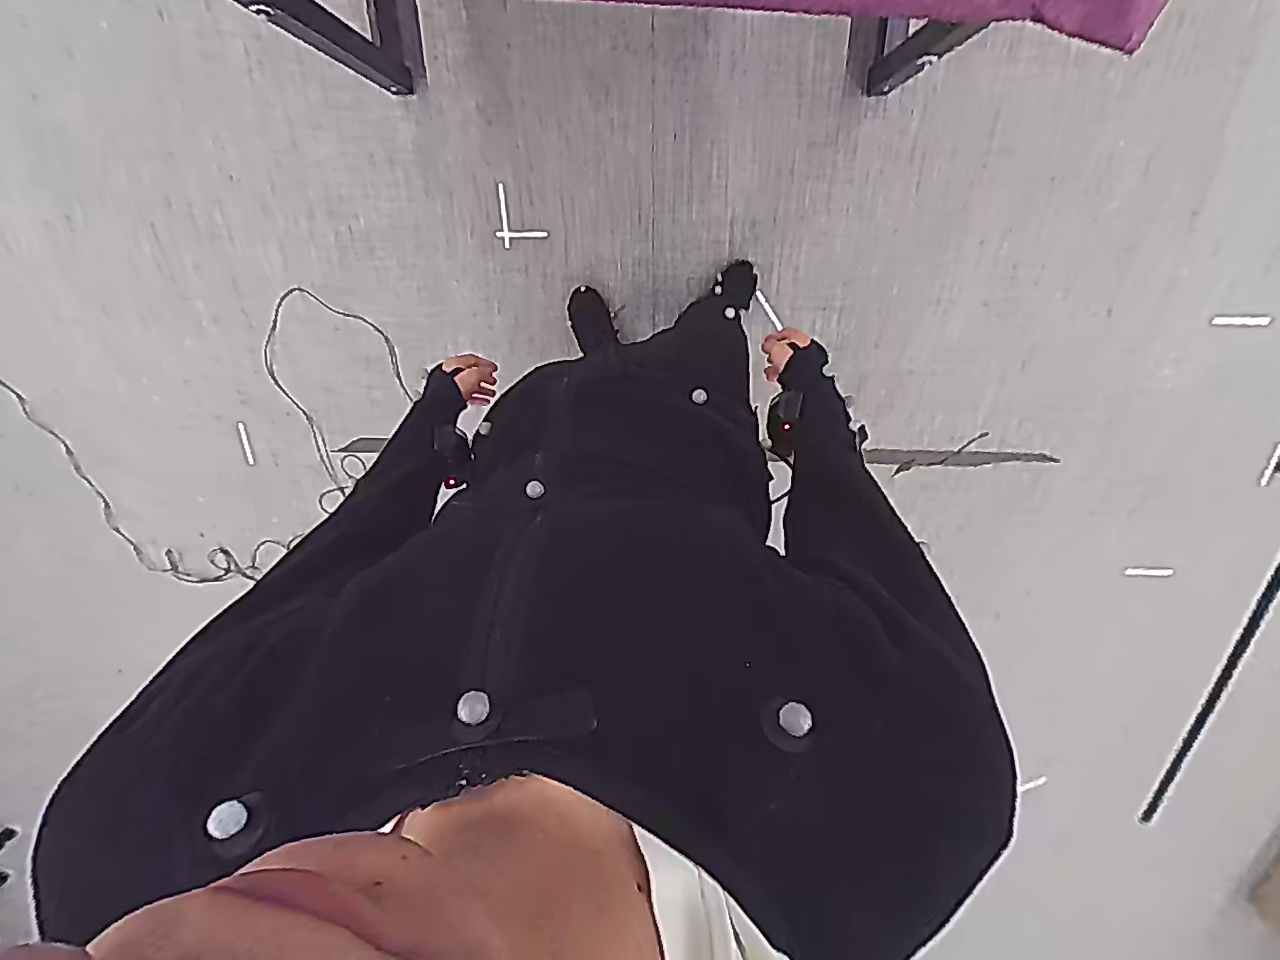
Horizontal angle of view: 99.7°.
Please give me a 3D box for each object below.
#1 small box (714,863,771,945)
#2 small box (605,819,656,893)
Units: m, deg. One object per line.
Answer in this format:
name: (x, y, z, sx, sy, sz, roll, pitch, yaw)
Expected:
small box: (0.352, 1.474, 1.882, 0.168, 0.176, 0.179, -1, 113, 0)
small box: (-0.034, 1.419, 2.047, 0.179, 0.176, 0.168, 5, 113, 0)
